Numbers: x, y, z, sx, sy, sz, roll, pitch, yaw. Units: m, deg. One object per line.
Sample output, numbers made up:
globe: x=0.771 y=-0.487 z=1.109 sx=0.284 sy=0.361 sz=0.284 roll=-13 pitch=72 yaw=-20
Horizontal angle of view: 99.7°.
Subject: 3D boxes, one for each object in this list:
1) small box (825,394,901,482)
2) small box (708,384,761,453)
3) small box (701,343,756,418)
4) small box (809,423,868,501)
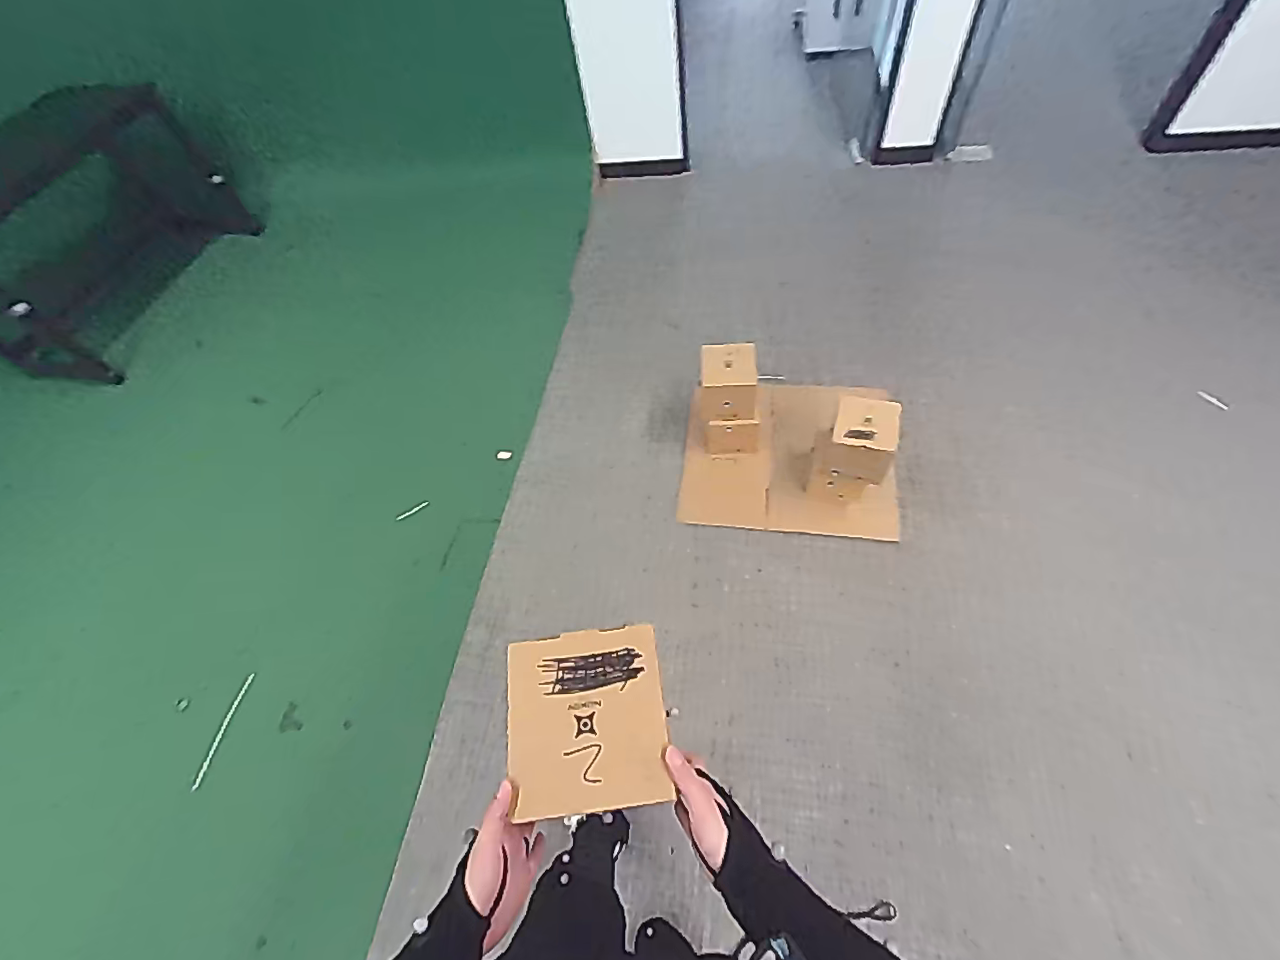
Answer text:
small box: x=0.629 y=-0.116 z=1.537 sx=0.168 sy=0.176 sz=0.179 roll=12 pitch=59 yaw=15
small box: x=0.317 y=-0.208 z=1.841 sx=0.168 sy=0.176 sz=0.179 roll=-2 pitch=57 yaw=7
small box: x=0.279 y=-0.310 z=1.714 sx=0.168 sy=0.176 sz=0.179 roll=0 pitch=57 yaw=7
small box: x=0.627 y=-0.054 z=1.693 sx=0.168 sy=0.176 sz=0.179 roll=8 pitch=59 yaw=14
